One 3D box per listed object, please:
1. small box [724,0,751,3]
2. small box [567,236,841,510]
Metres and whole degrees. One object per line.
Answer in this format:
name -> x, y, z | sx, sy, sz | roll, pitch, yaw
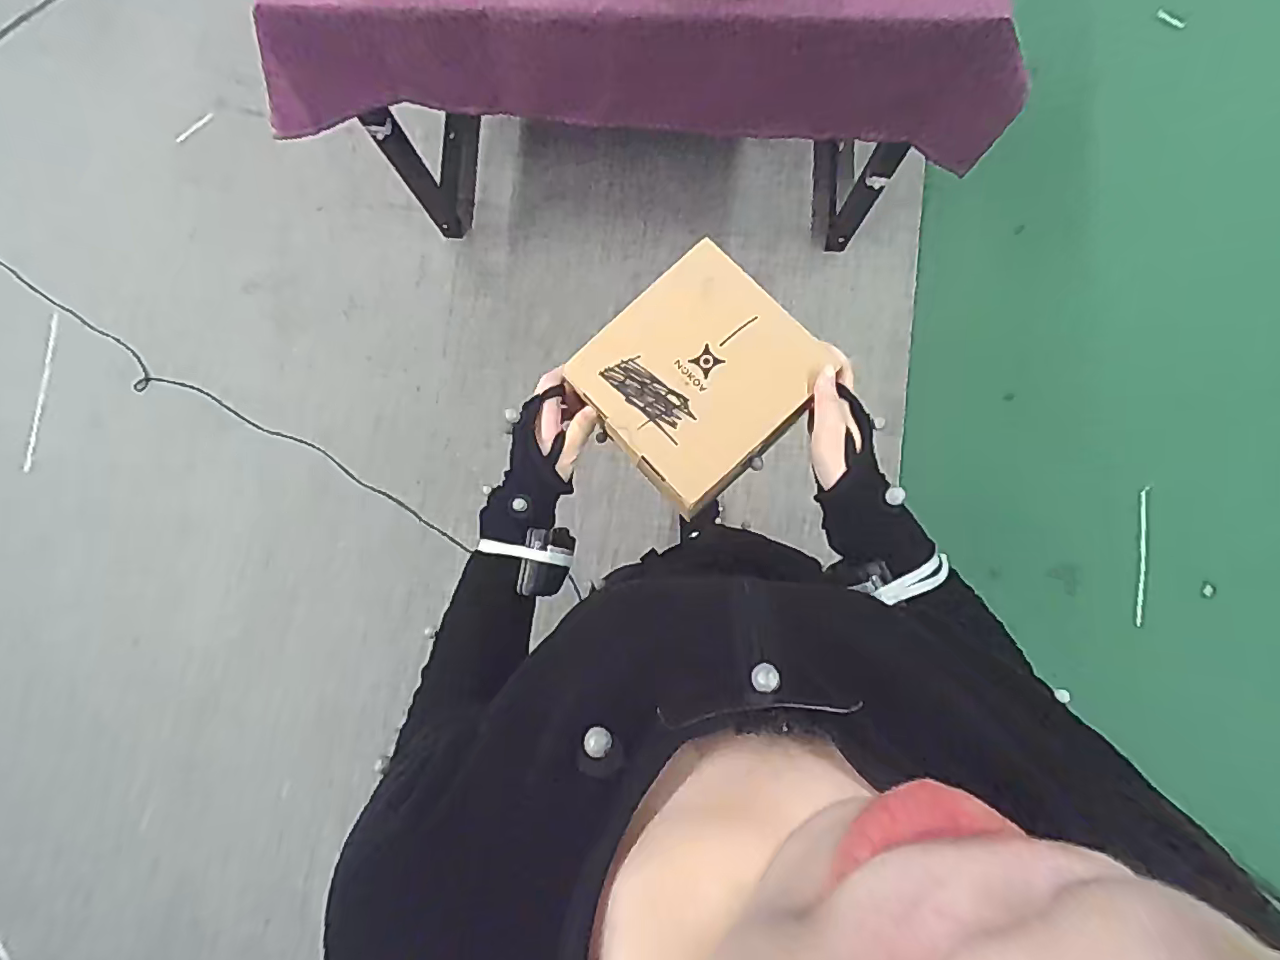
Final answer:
small box -> 0.111, -0.852, 0.788 | 0.168, 0.176, 0.179 | 6, 84, 2
small box -> 0.059, -0.087, 0.534 | 0.179, 0.176, 0.168 | -42, 81, -3
